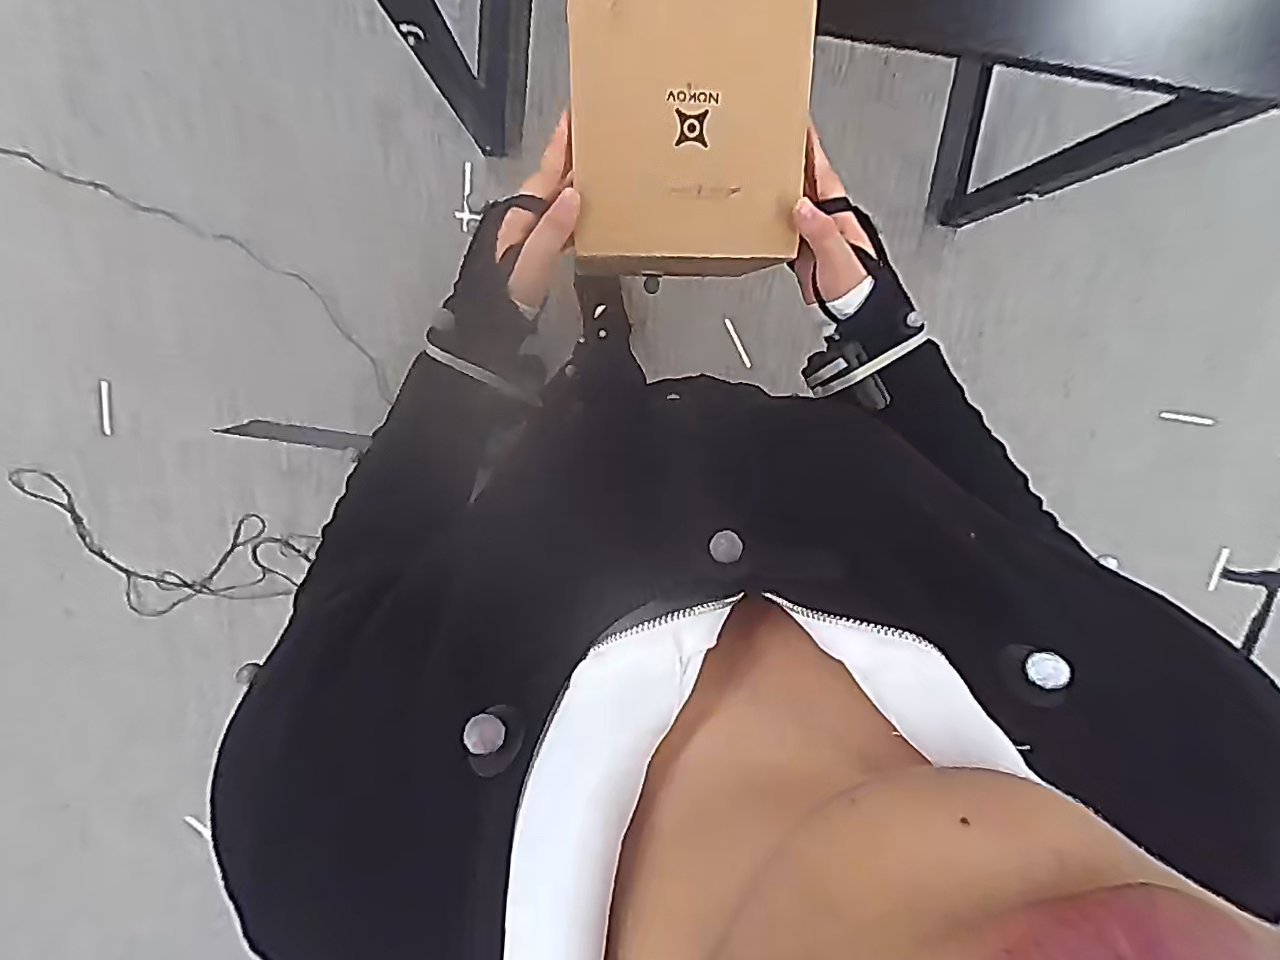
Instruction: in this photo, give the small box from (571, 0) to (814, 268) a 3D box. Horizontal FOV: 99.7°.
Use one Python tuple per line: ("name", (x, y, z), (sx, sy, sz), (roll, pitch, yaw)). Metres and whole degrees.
("small box", (0.027, -0.279, 0.446), (0.168, 0.176, 0.179), (-1, 106, -5))
